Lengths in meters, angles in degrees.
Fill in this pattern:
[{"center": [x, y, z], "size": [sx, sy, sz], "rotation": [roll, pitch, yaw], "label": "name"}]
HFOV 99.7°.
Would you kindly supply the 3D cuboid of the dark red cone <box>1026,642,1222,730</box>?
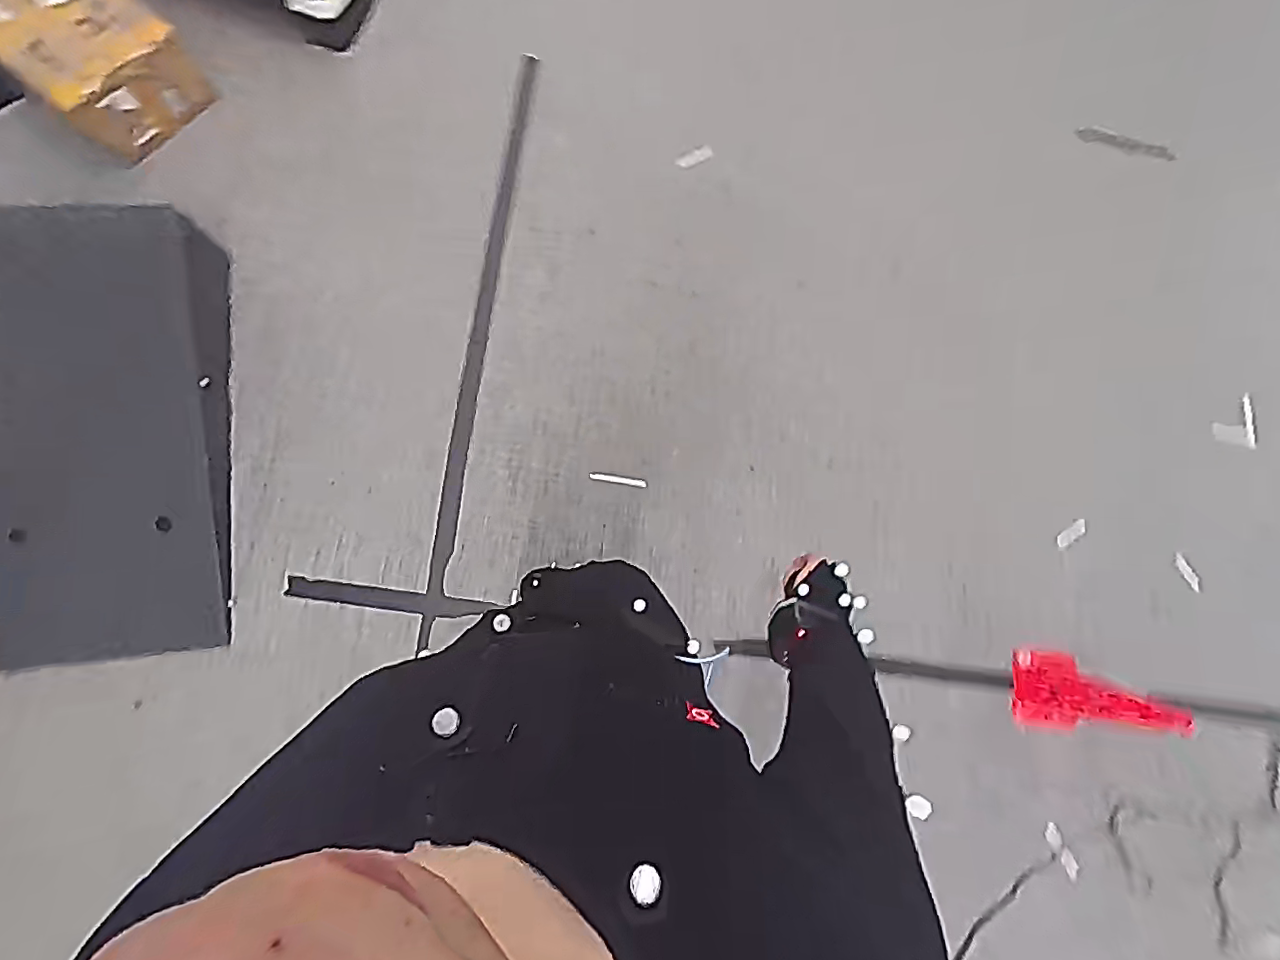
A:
[{"center": [1.171, 0.528, 1.320], "size": [0.202, 0.394, 0.201], "rotation": [8, 81, -7], "label": "dark red cone"}]
